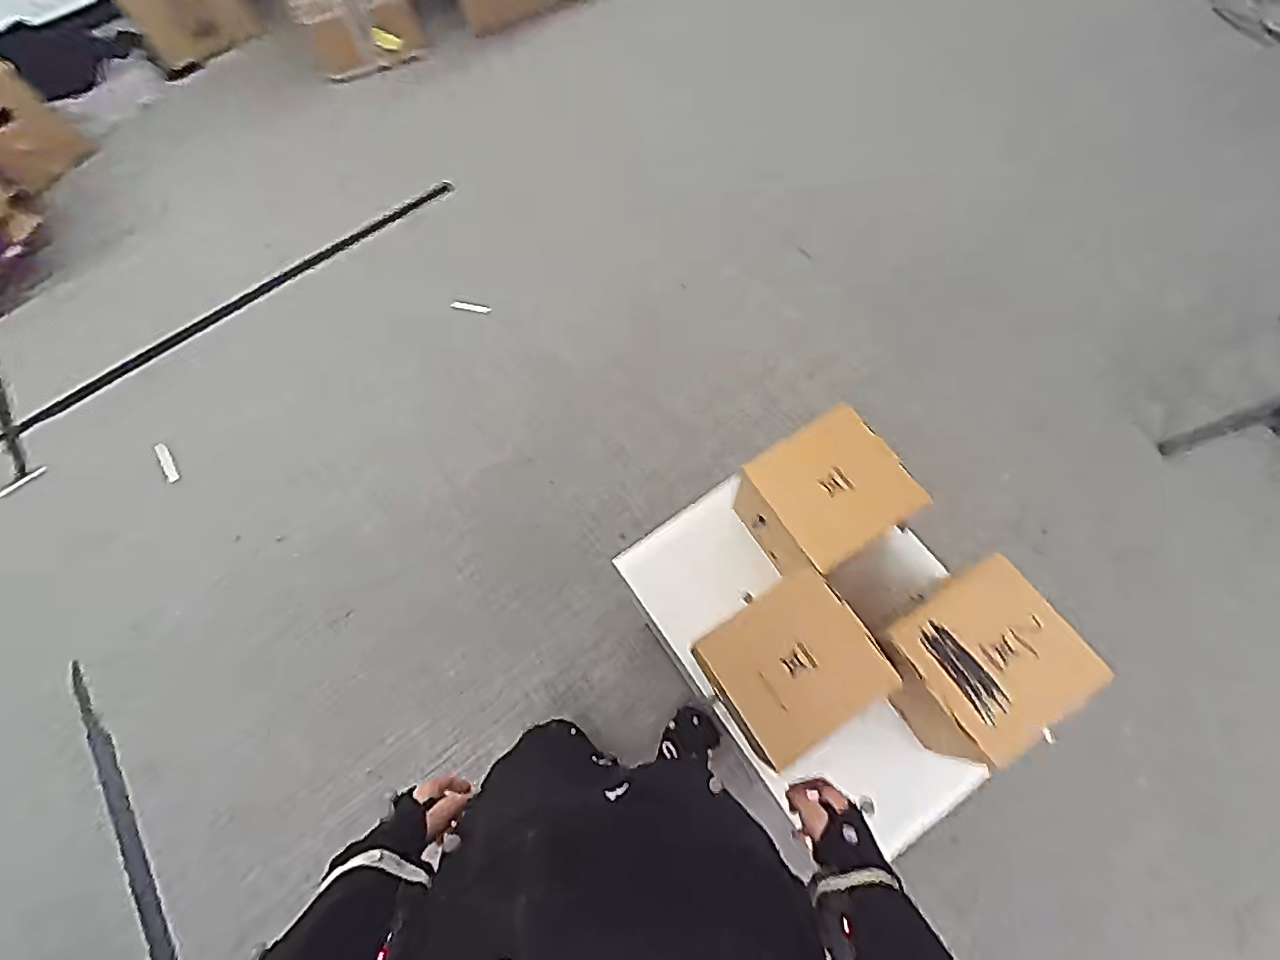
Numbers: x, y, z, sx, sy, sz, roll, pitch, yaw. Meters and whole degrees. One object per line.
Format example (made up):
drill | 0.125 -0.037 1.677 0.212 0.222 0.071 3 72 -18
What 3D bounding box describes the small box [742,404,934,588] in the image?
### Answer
small box | 0.256 0.032 0.755 0.179 0.176 0.168 -31 70 -8
